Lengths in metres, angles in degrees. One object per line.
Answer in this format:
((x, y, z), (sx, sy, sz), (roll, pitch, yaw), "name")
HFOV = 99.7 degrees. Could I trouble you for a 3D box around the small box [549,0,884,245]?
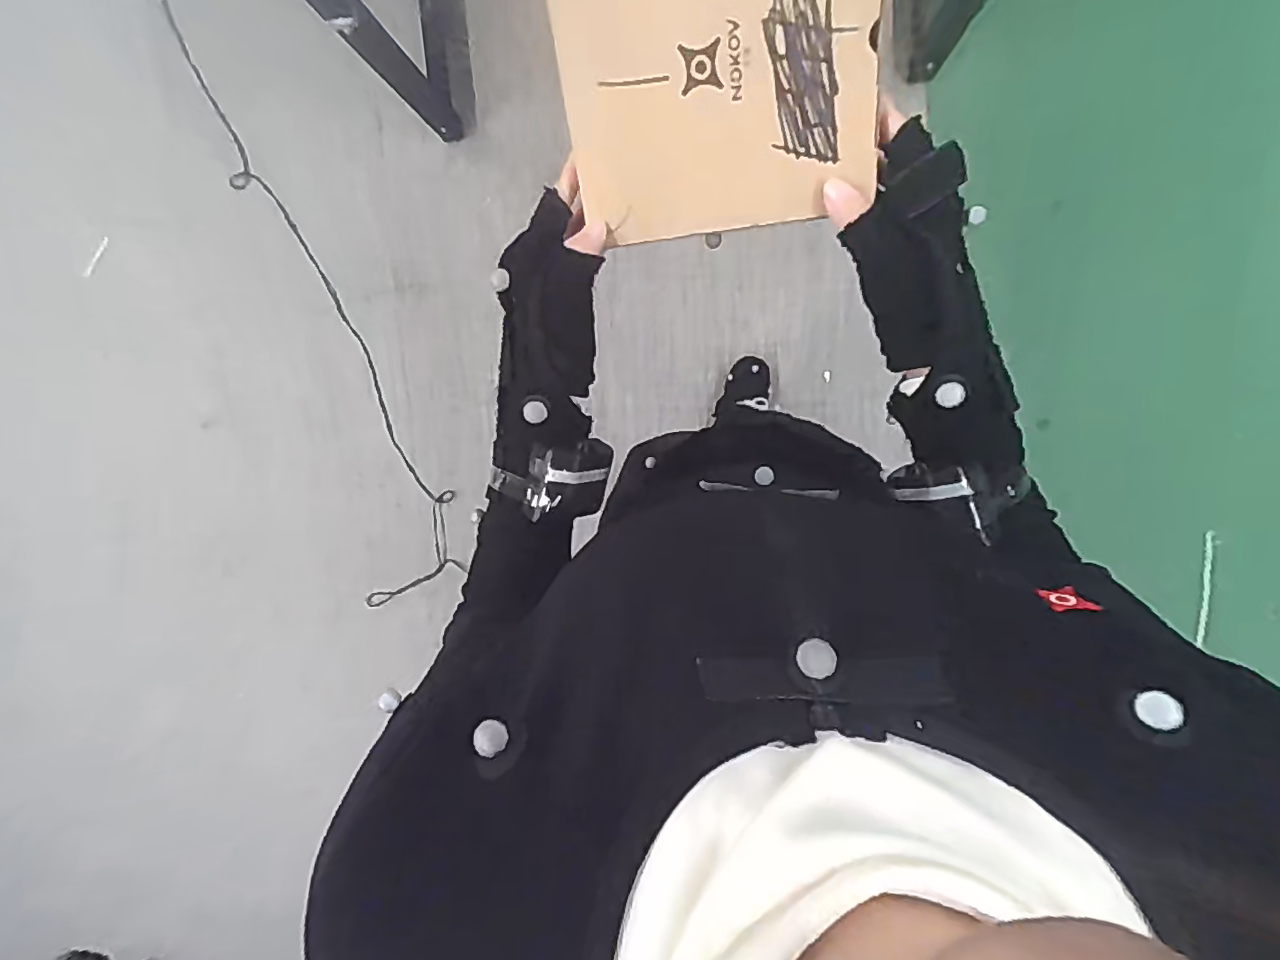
((0.050, -0.267, 0.366), (0.179, 0.176, 0.168), (-3, 119, 9), "small box")
